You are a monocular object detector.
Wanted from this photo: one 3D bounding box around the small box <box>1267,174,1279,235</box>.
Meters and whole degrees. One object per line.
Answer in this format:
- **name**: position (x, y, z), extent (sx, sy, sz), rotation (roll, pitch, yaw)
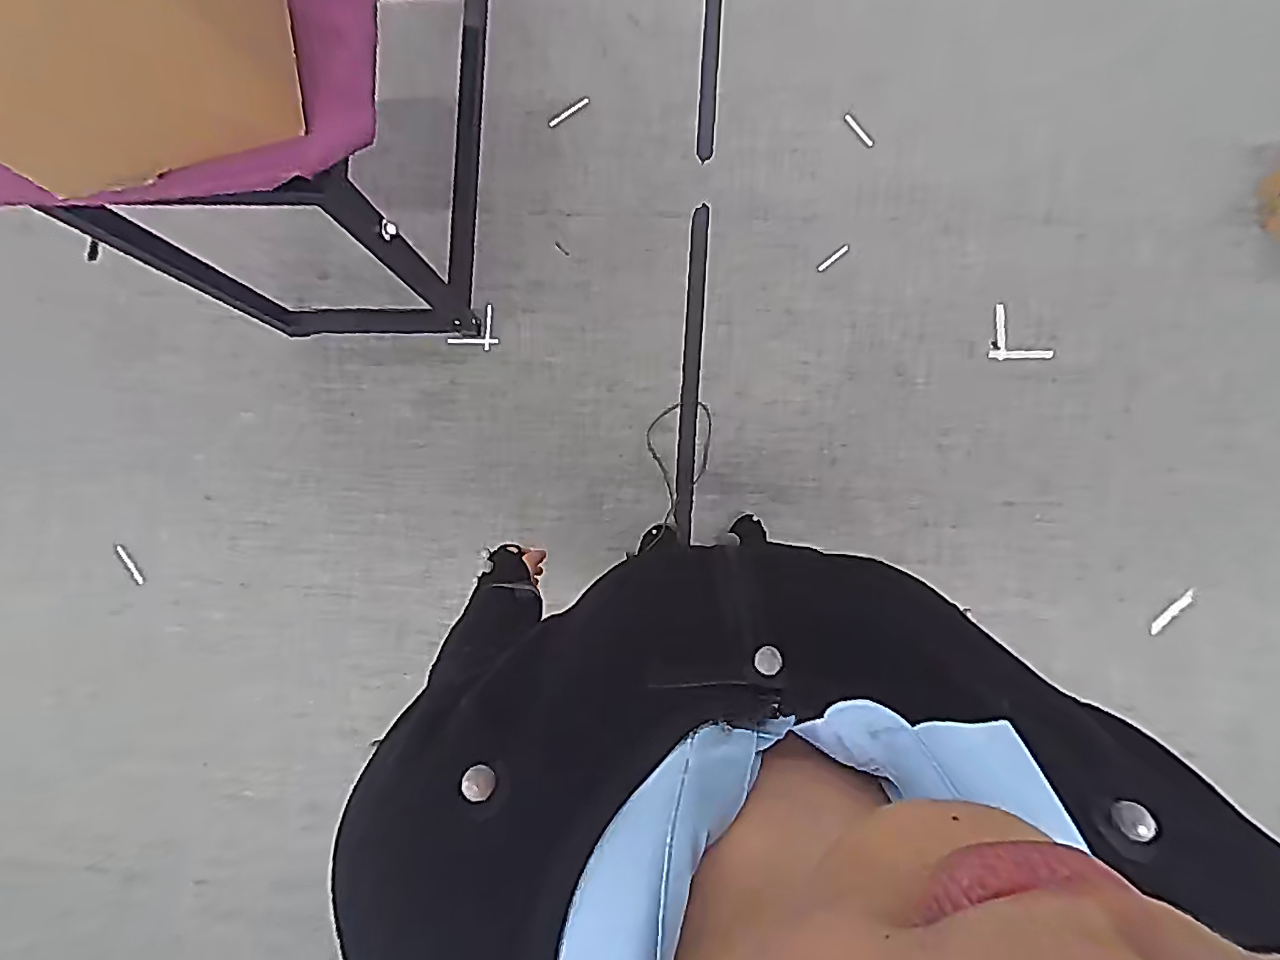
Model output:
- **small box**: position (1.817, -0.759, 1.419), extent (0.179, 0.176, 0.168), rotation (0, 86, 2)
